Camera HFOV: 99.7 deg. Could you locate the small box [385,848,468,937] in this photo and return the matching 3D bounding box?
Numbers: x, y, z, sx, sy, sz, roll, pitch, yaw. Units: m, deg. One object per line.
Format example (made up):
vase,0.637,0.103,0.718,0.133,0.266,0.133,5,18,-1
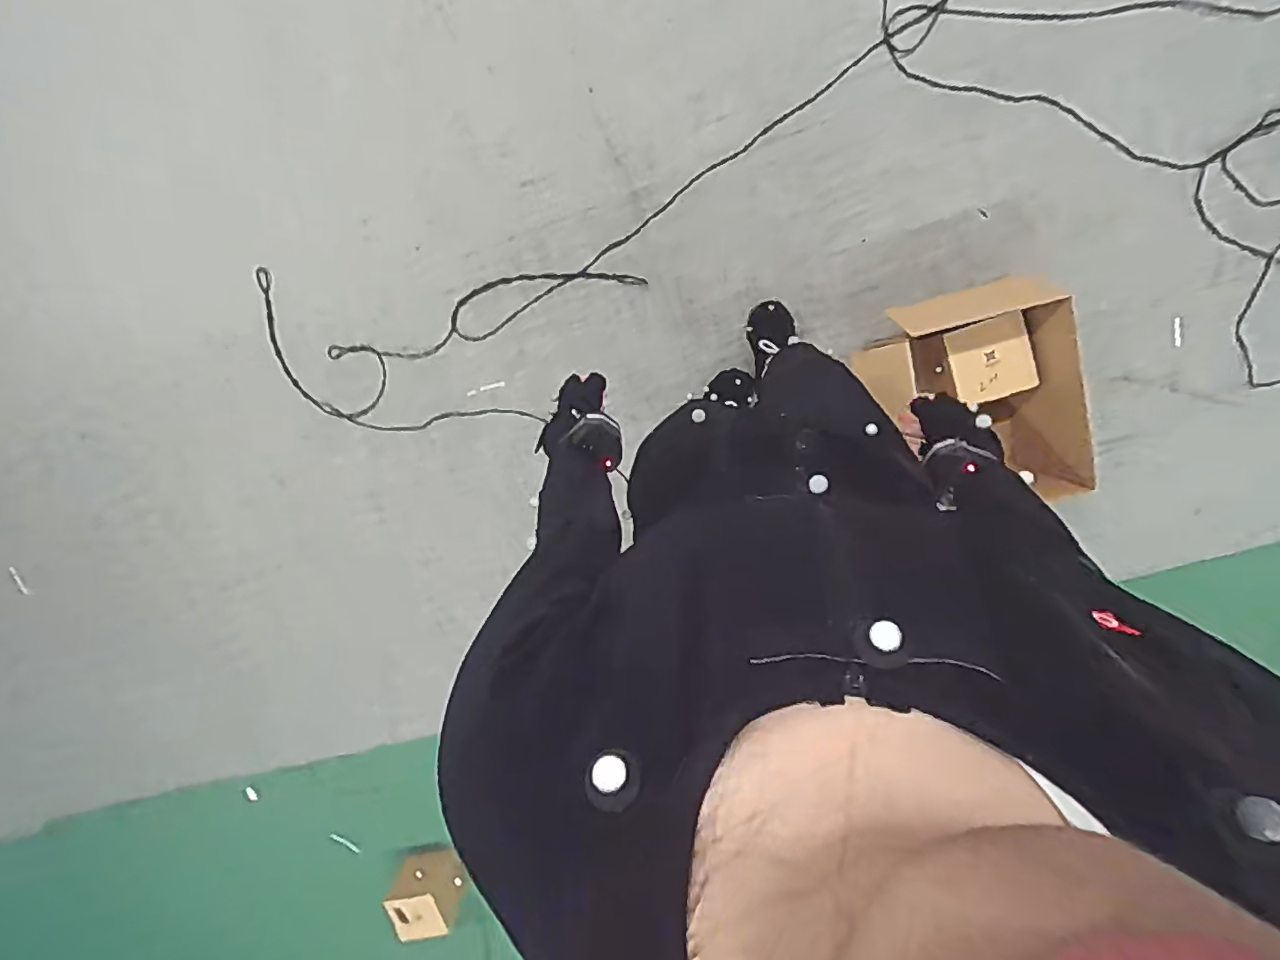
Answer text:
small box,-0.714,1.389,1.828,0.179,0.176,0.168,-14,102,8
